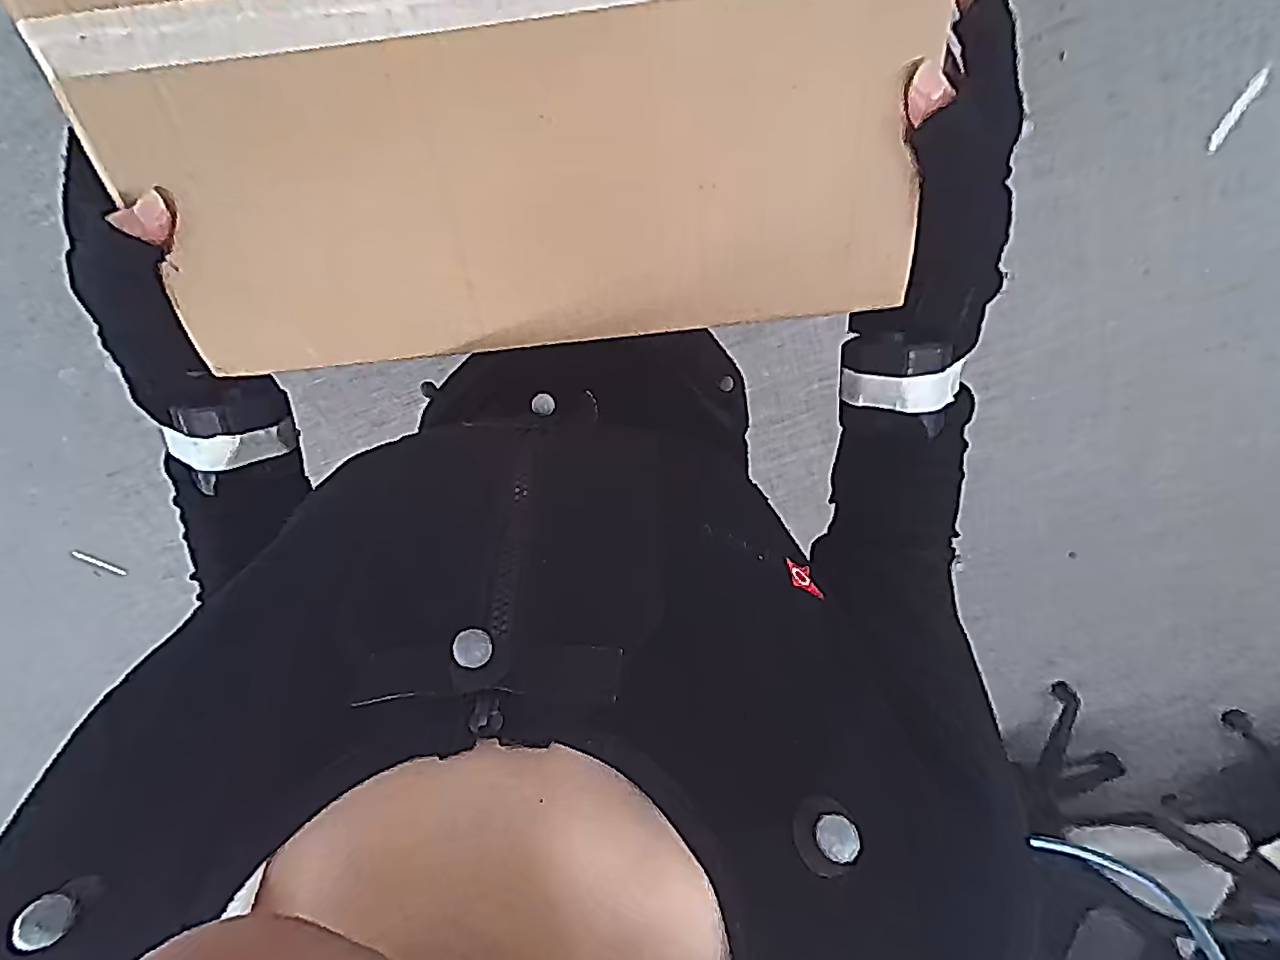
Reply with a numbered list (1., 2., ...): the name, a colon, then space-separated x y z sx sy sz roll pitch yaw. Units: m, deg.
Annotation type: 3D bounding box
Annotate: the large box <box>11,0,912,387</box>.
1. large box: -0.076 -0.290 0.369 0.408 0.320 0.320 -7 122 3
